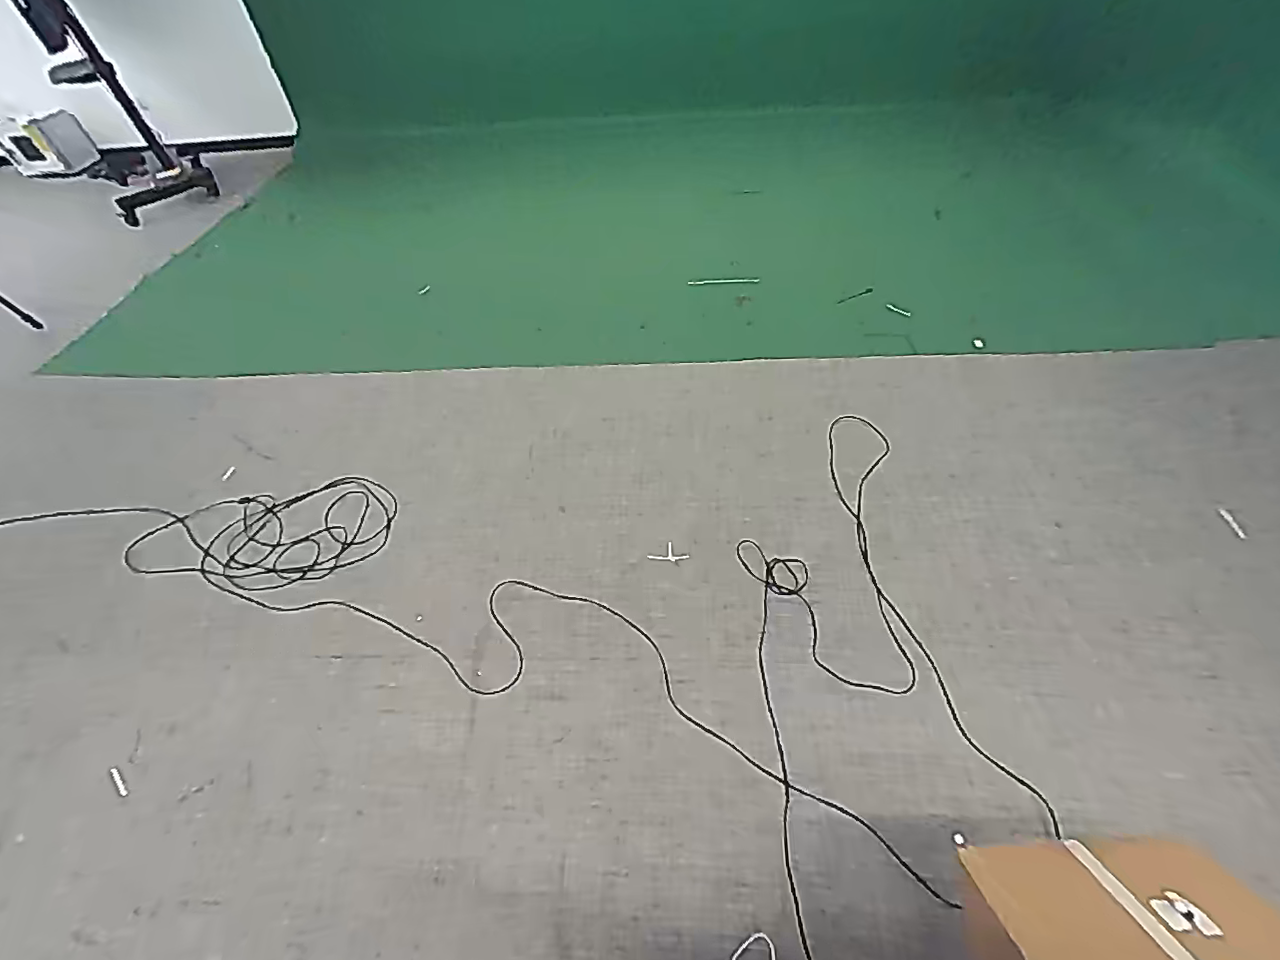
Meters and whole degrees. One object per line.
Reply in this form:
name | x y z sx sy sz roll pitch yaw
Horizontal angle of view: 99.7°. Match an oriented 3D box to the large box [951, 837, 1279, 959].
large box | 0.616 0.690 0.600 0.320 0.408 0.320 -7 91 7
